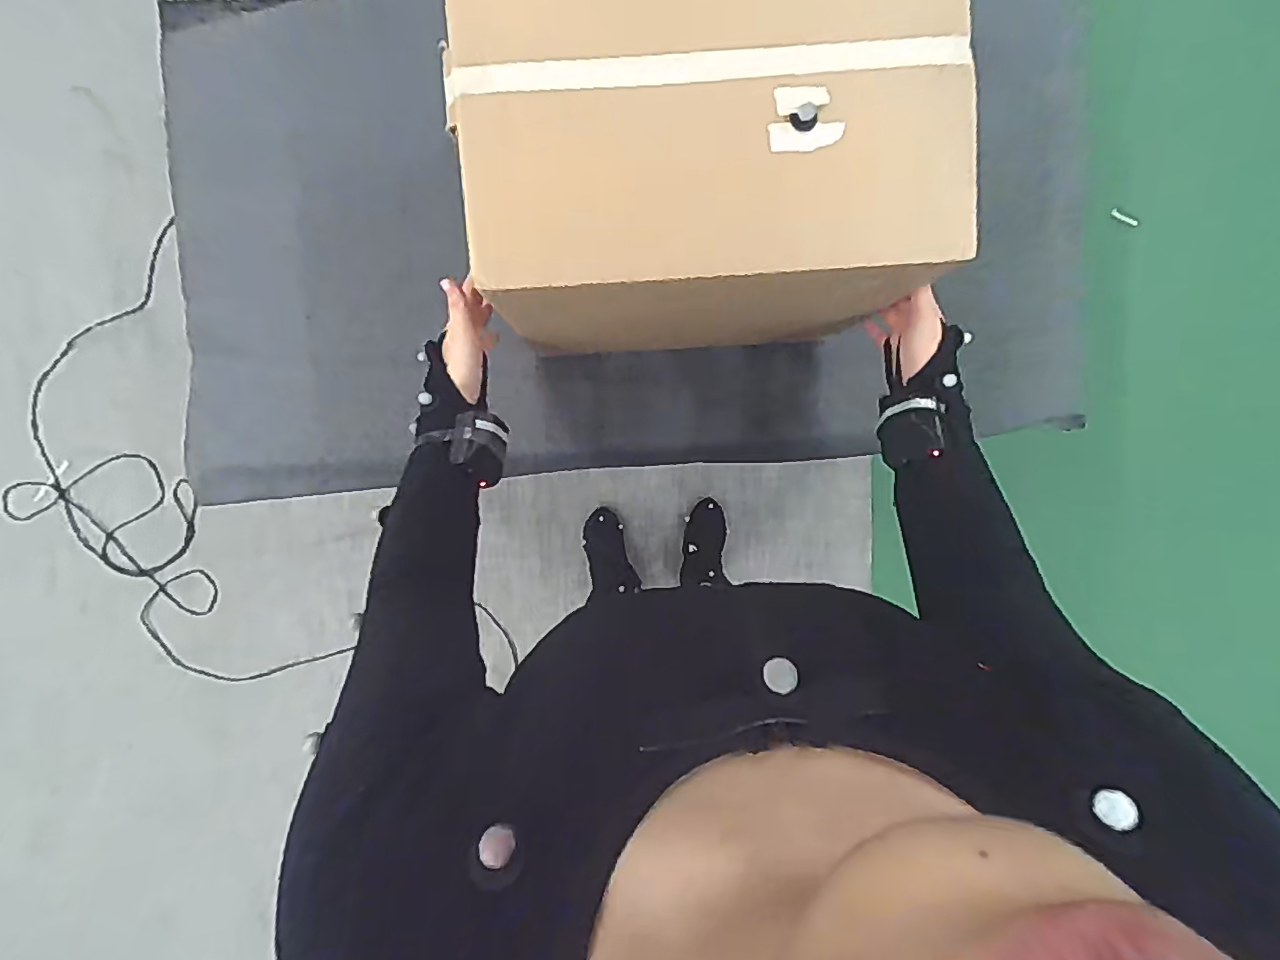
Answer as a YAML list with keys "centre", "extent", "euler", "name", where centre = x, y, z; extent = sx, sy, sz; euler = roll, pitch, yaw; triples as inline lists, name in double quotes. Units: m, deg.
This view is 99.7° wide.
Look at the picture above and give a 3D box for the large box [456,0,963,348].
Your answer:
- centre: [0.053, -0.337, 0.581]
  extent: [0.408, 0.320, 0.320]
  euler: [-4, 94, -1]
  name: "large box"
